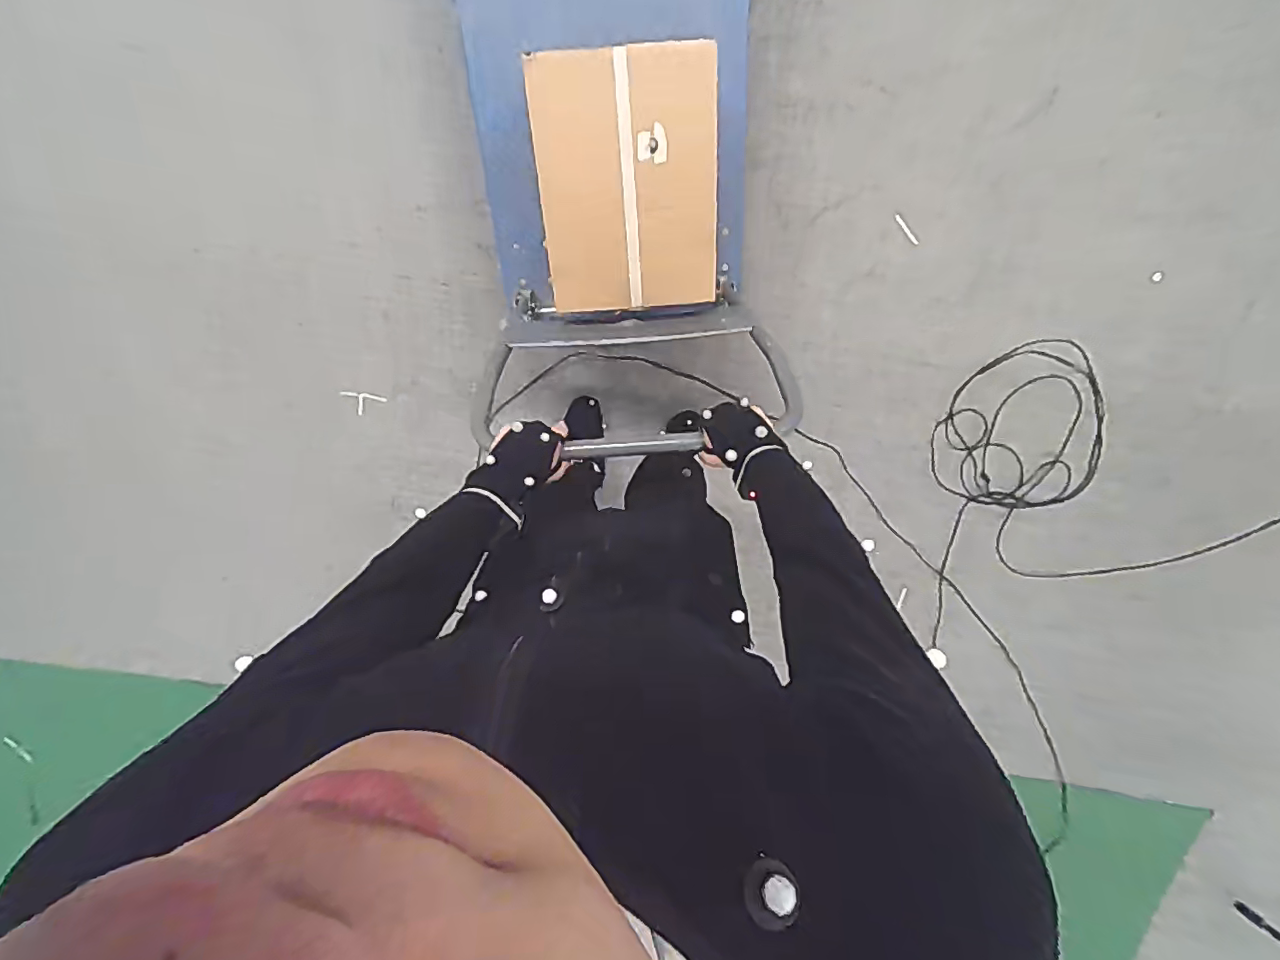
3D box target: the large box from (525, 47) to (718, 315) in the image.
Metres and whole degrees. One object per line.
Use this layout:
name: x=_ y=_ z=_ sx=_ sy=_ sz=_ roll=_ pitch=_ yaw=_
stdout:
large box: x=-0.022 y=-0.576 z=1.086 sx=0.320 sy=0.320 sz=0.408 roll=-4 pitch=119 yaw=-1
